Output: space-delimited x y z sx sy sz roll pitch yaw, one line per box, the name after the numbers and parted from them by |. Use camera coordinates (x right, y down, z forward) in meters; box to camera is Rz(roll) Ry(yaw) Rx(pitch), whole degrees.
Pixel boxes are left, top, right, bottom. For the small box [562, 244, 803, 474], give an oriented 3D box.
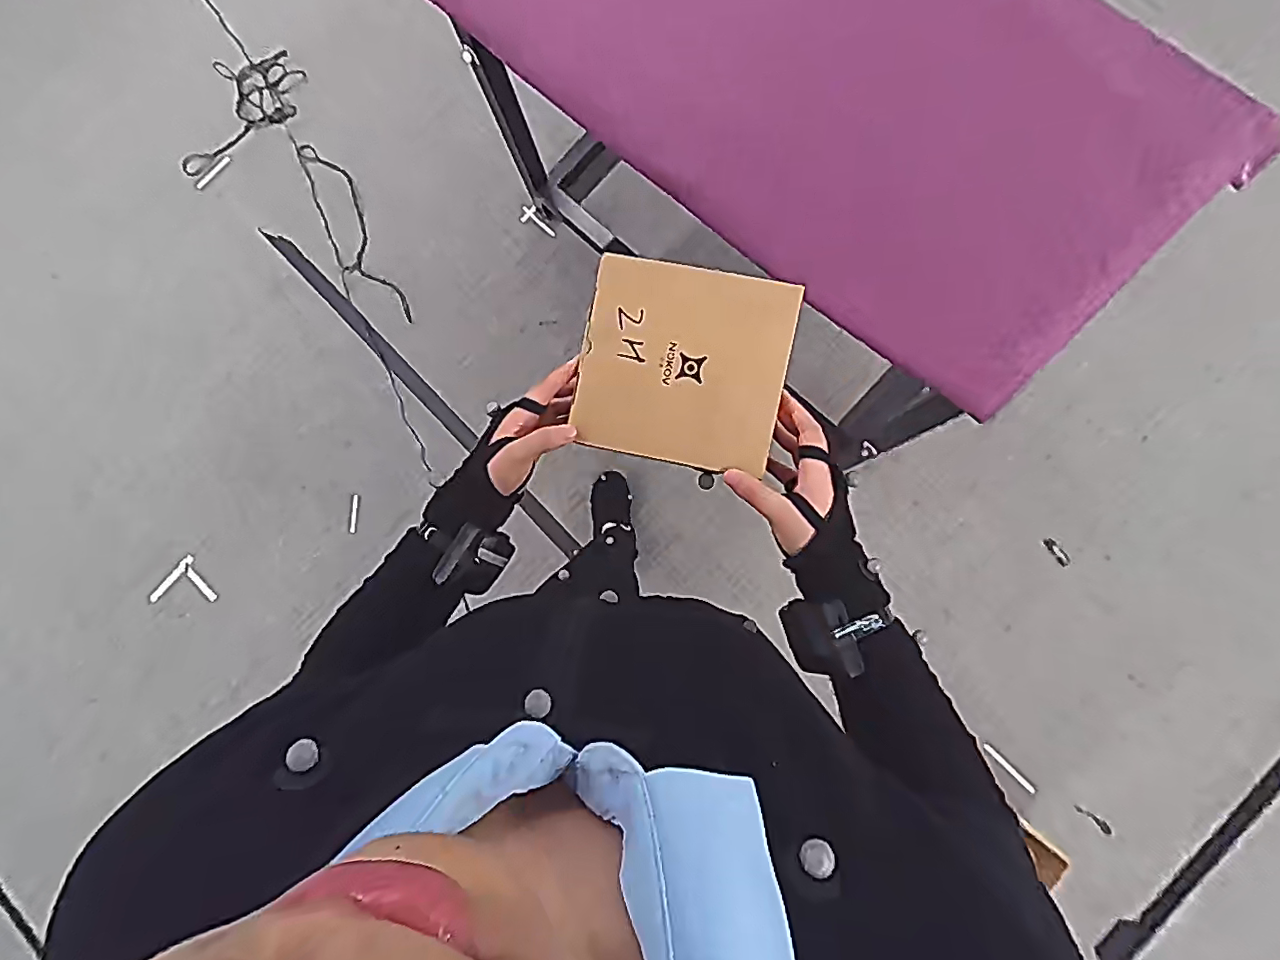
0.041 -0.105 0.533 0.179 0.176 0.168 12 92 6 | small box
